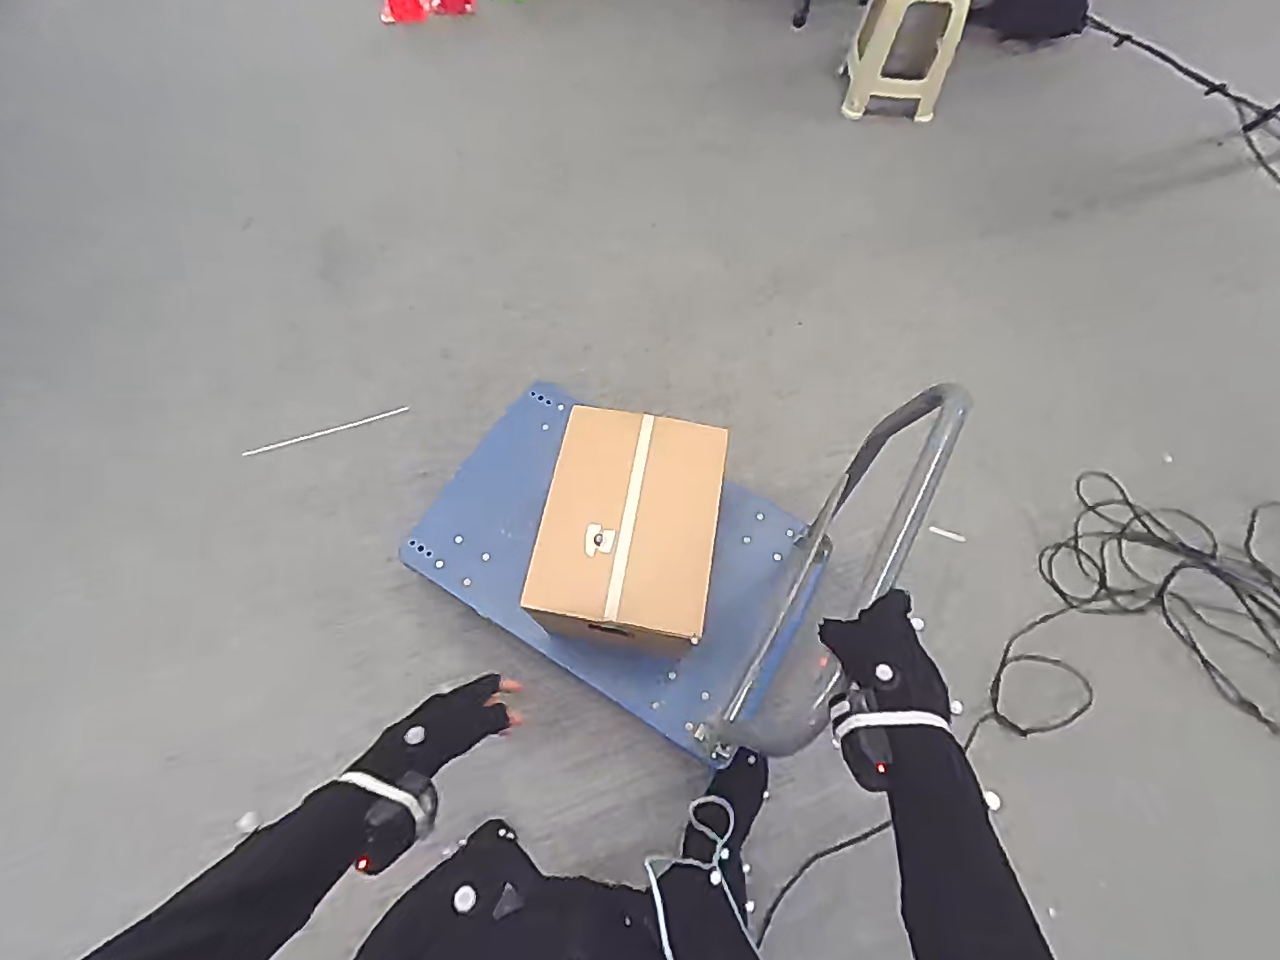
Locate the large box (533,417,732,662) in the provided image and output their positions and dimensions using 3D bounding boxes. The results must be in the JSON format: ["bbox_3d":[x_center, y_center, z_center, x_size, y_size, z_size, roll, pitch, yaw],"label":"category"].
[{"bbox_3d":[-0.004,0.134,1.120,0.320,0.320,0.408,9,67,4],"label":"large box"}]
